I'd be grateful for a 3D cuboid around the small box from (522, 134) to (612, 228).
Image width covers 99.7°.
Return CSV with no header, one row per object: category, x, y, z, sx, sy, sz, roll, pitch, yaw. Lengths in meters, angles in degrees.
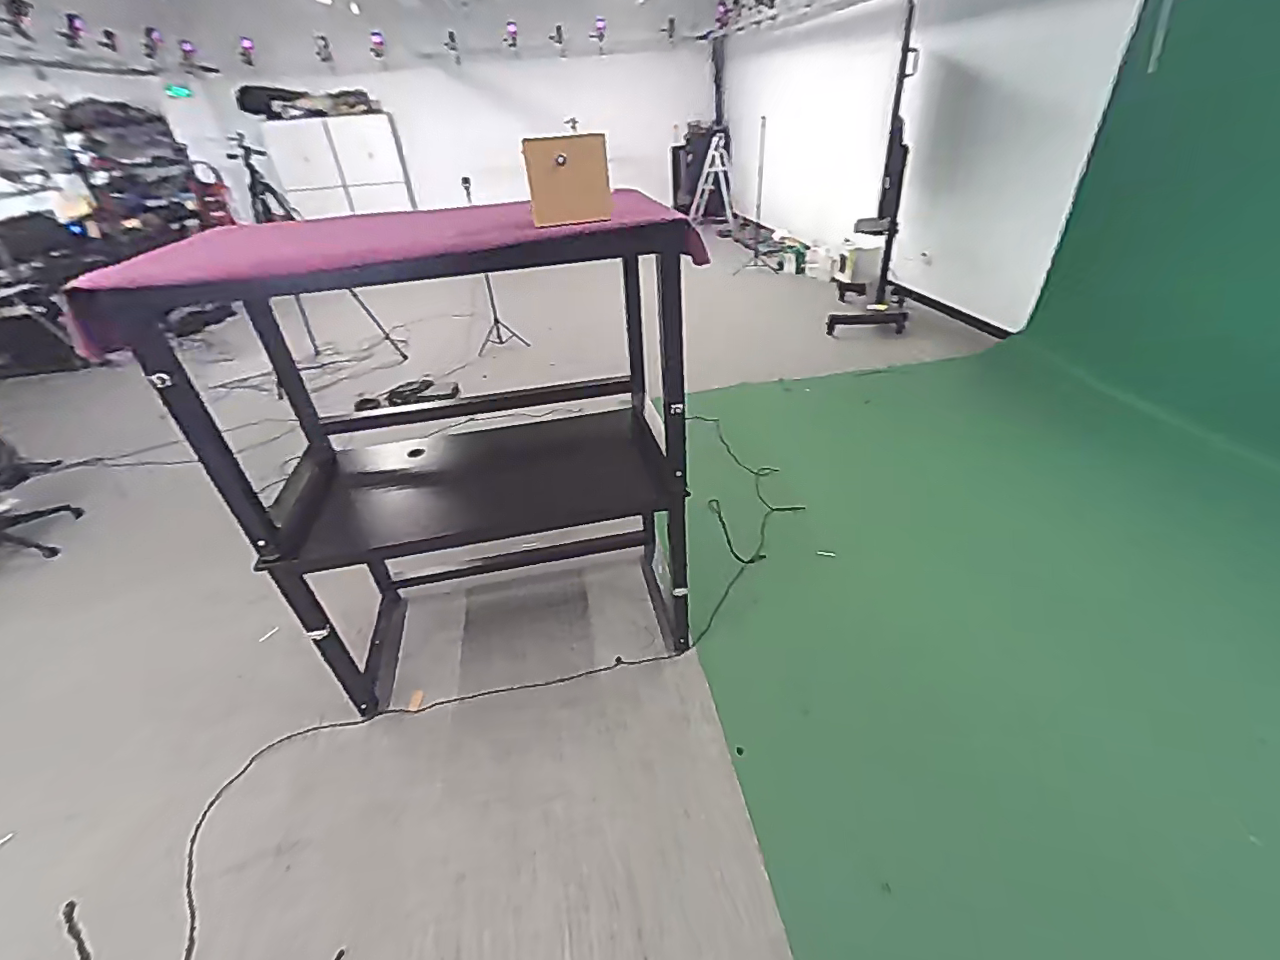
small box,-0.166,-0.680,1.229,0.179,0.176,0.168,-9,34,-7
